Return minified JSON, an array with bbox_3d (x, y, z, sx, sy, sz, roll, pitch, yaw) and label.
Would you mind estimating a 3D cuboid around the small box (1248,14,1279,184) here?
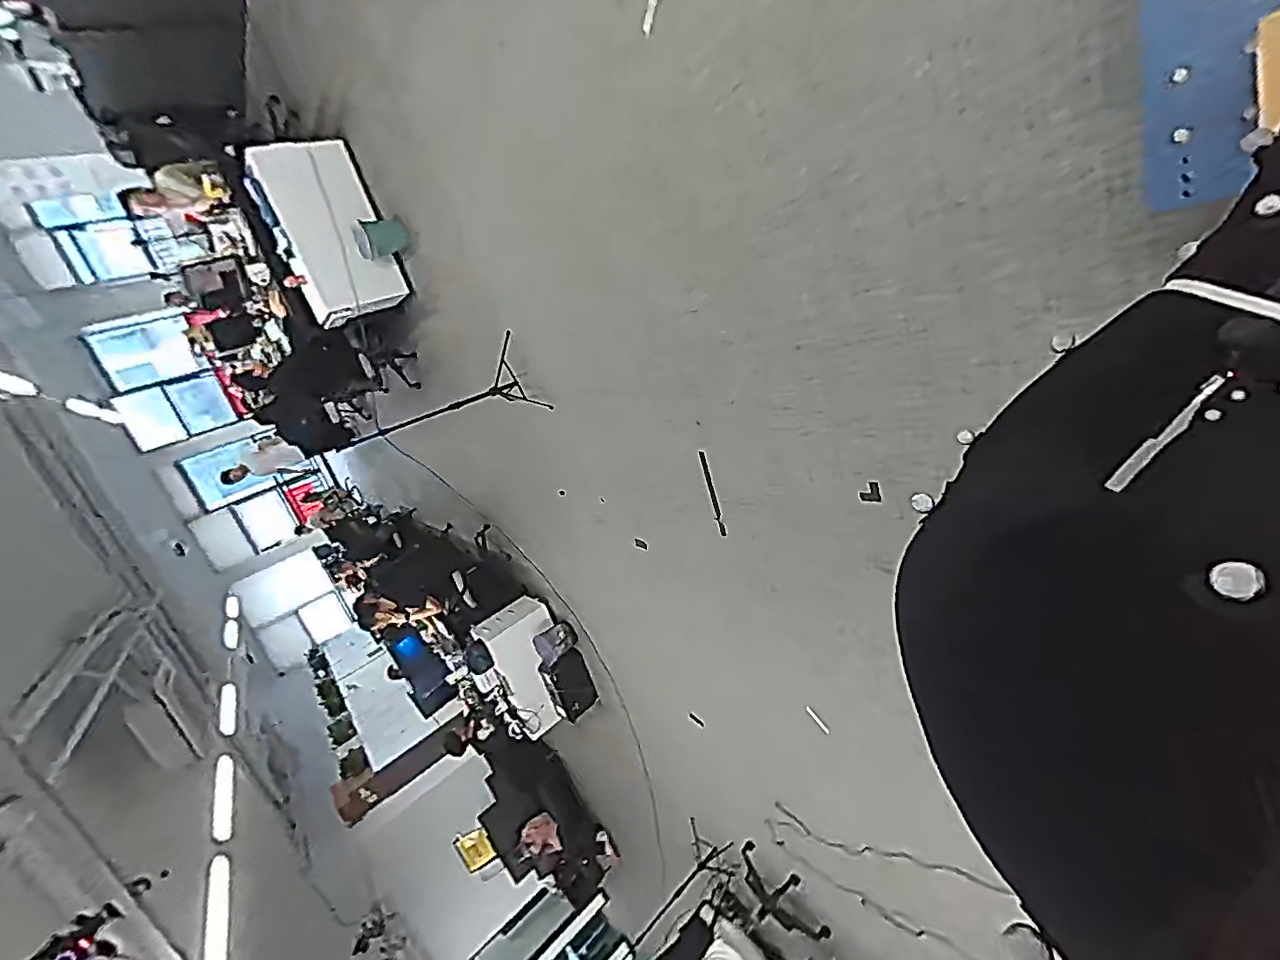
[{"bbox_3d":[0.839,-0.475,0.626,0.168,0.176,0.179,3,116,53],"label":"small box"}]
